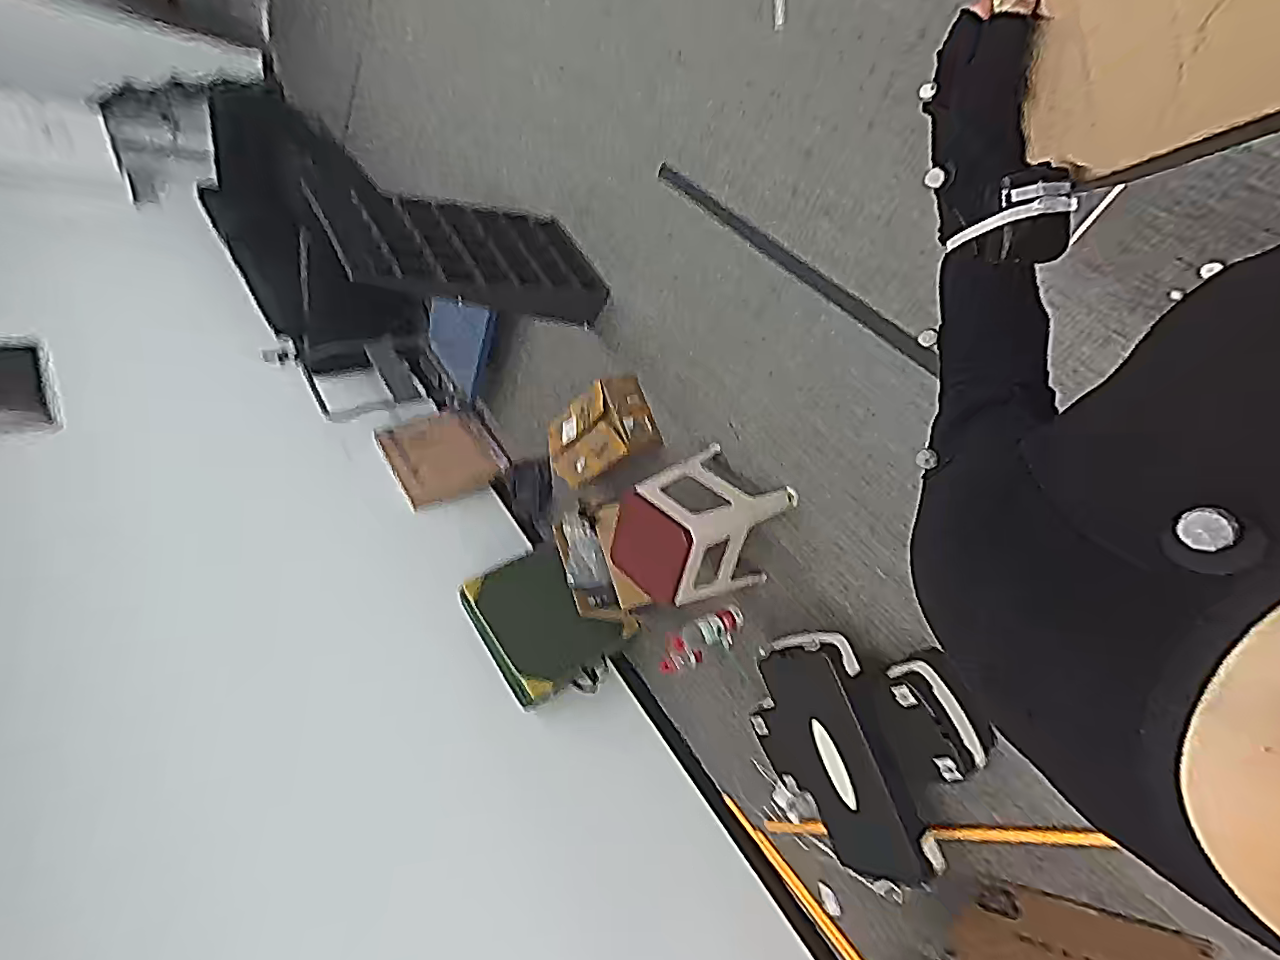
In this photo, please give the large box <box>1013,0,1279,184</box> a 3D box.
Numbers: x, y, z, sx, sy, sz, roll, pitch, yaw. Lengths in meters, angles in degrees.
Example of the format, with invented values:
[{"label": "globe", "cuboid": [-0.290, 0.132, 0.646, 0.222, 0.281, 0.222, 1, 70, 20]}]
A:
[{"label": "large box", "cuboid": [0.506, -0.431, 0.333, 0.408, 0.320, 0.320, -1, 110, 53]}]
